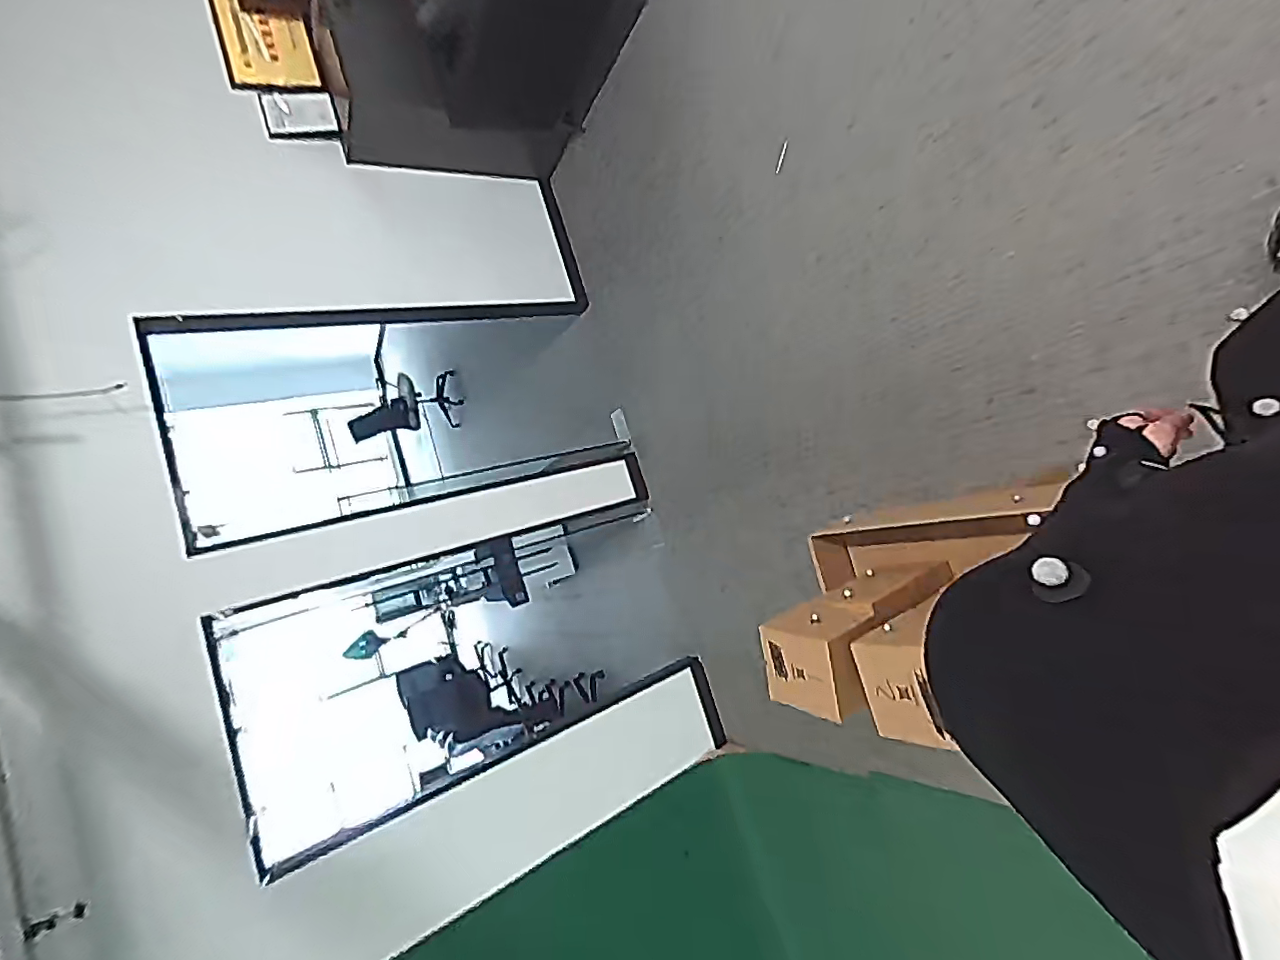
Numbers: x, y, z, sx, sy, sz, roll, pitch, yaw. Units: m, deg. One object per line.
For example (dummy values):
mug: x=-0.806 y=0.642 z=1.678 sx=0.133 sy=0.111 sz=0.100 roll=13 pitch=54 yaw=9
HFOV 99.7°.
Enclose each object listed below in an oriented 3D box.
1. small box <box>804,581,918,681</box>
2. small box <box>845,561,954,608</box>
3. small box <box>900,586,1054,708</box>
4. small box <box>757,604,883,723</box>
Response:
small box: x=0.508 y=0.332 z=1.215 sx=0.179 sy=0.176 sz=0.168 roll=-21 pitch=83 yaw=55
small box: x=0.637 y=0.300 z=1.307 sx=0.179 sy=0.176 sz=0.168 roll=-20 pitch=85 yaw=55
small box: x=0.633 y=0.303 z=1.010 sx=0.179 sy=0.176 sz=0.168 roll=-24 pitch=80 yaw=58
small box: x=0.374 y=0.368 z=1.127 sx=0.179 sy=0.176 sz=0.168 roll=-5 pitch=97 yaw=54
